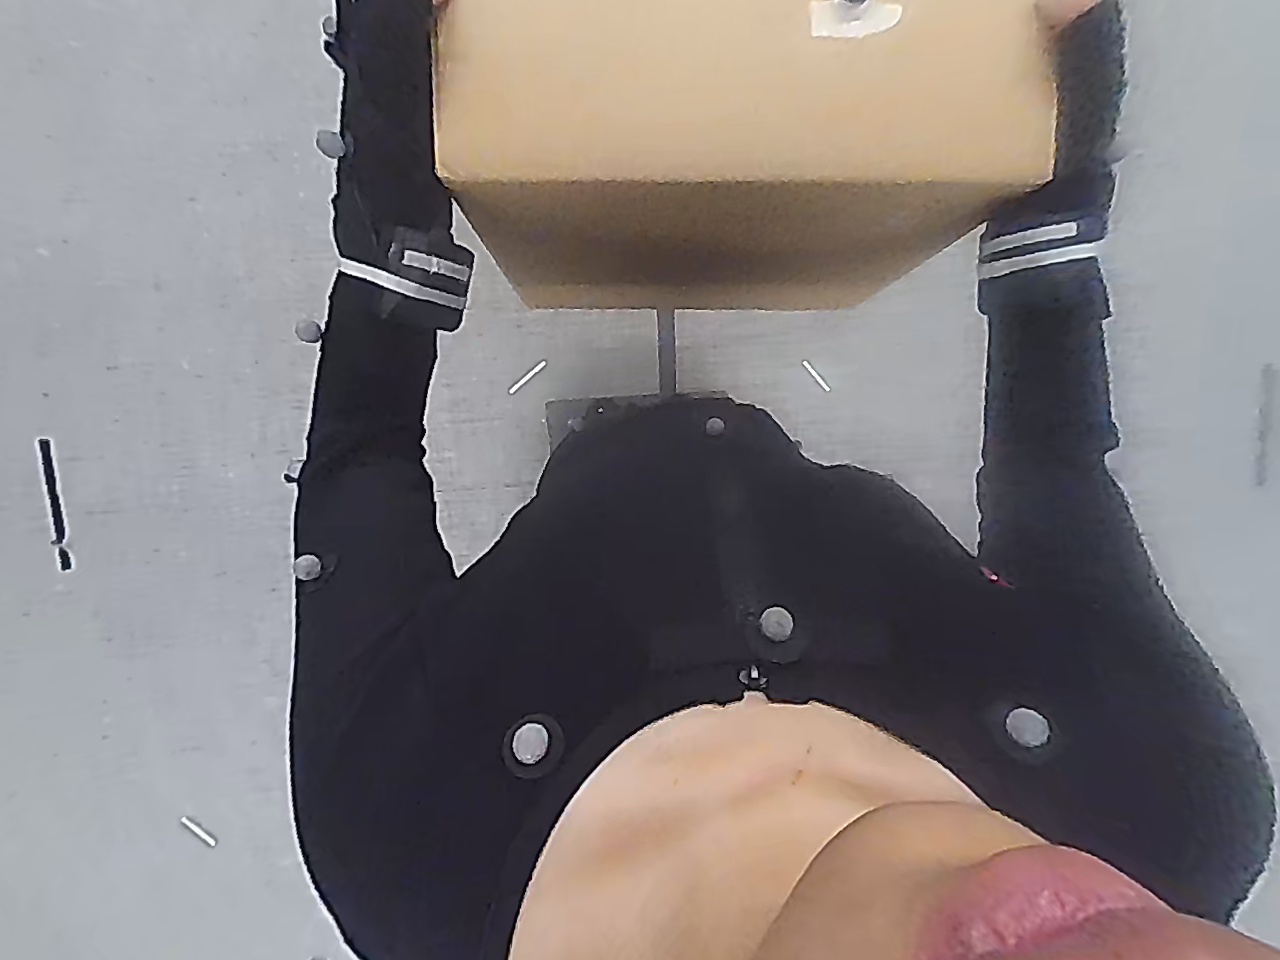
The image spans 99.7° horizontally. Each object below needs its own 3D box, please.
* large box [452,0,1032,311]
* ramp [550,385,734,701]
[{"bbox_3d":[0.065,-0.361,0.516,0.408,0.320,0.320,-1,92,-2],"label":"large box"},{"bbox_3d":[0.034,0.229,1.605,0.509,0.206,0.991,-6,99,-1],"label":"ramp"}]
